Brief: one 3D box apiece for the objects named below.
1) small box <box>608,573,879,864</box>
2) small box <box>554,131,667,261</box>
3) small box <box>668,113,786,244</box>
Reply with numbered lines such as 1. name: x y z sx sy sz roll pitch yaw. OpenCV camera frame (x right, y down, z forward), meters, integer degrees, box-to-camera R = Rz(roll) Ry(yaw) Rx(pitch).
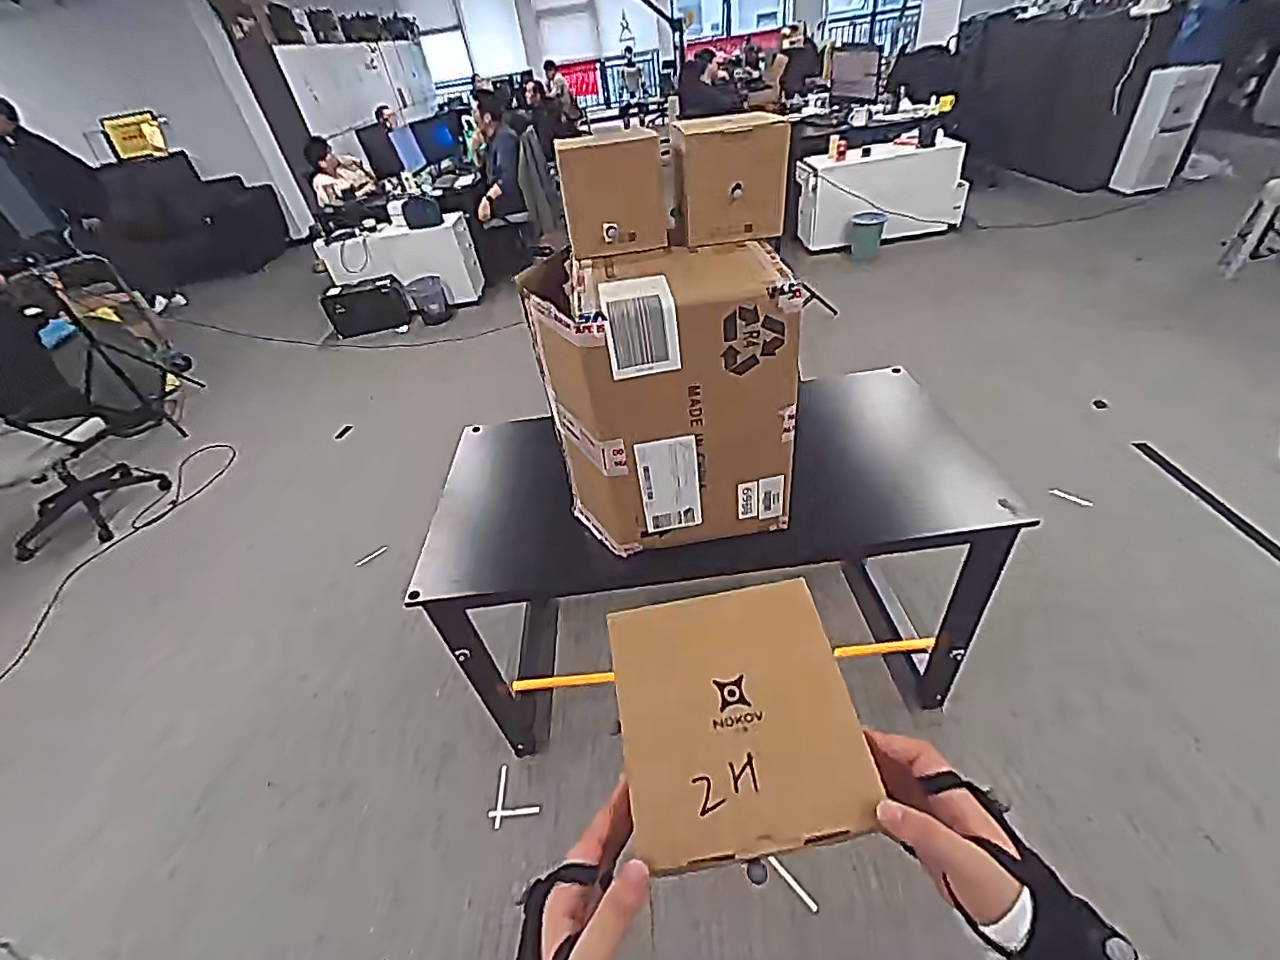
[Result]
1. small box: 0.070 0.206 0.461 0.168 0.176 0.179 -10 52 -1
2. small box: -0.053 -0.499 0.951 0.168 0.176 0.179 -11 38 -3
3. small box: 0.145 -0.519 0.940 0.168 0.176 0.179 -7 40 -1
